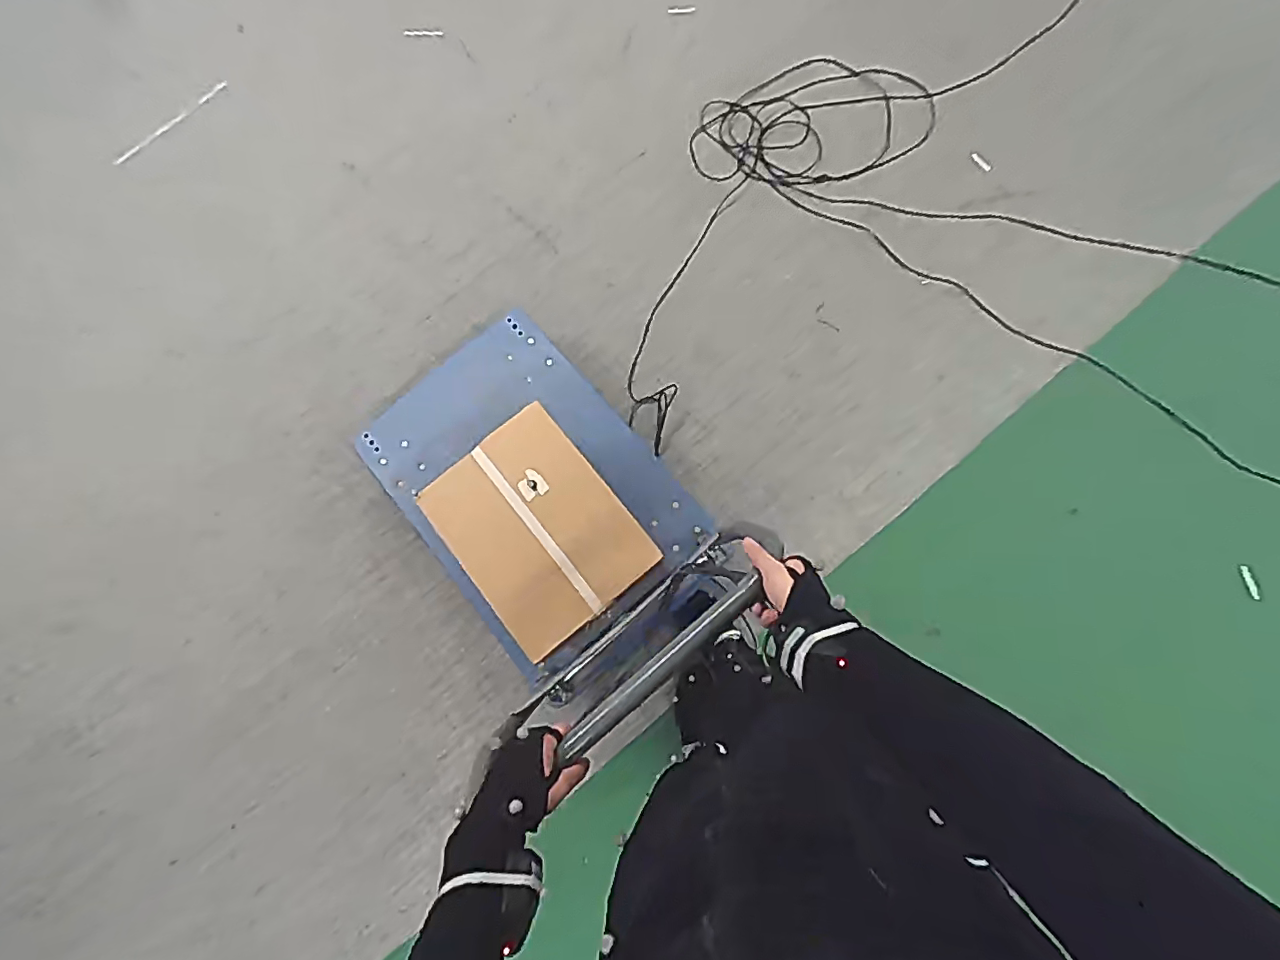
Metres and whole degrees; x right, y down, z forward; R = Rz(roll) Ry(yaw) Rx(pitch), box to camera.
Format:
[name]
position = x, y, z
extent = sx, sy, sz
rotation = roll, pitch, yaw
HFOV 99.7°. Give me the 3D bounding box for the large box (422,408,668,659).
[large box]
position = -0.182, 0.121, 1.193
extent = 0.320, 0.320, 0.408
rotation = -39, 79, -4
